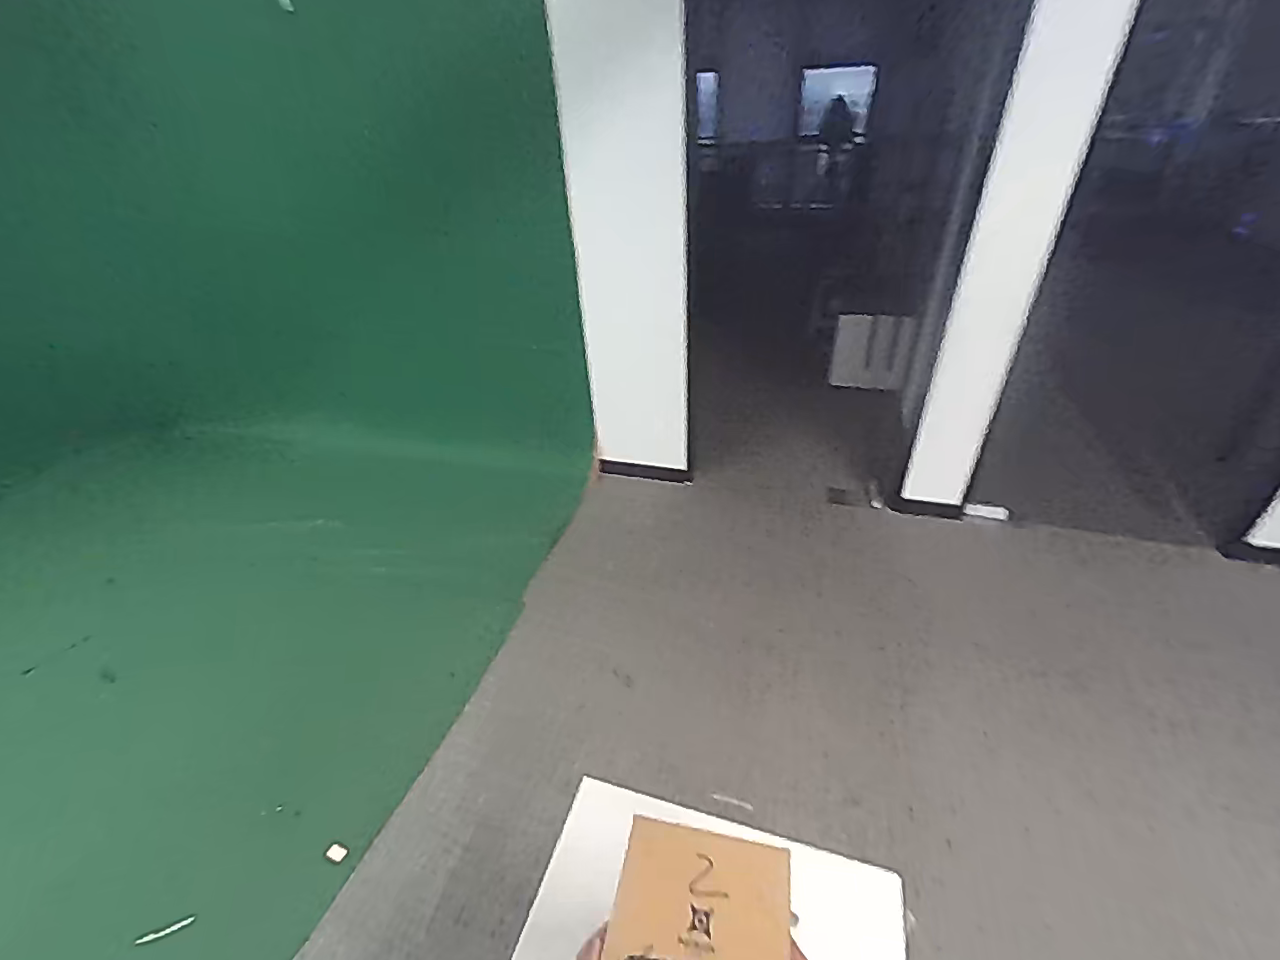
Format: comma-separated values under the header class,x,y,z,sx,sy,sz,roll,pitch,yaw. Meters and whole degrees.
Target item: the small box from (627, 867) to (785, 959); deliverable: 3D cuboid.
class,x,y,z,sx,sy,sz,roll,pitch,yaw
small box,0.068,0.602,0.623,0.168,0.176,0.179,7,35,16
